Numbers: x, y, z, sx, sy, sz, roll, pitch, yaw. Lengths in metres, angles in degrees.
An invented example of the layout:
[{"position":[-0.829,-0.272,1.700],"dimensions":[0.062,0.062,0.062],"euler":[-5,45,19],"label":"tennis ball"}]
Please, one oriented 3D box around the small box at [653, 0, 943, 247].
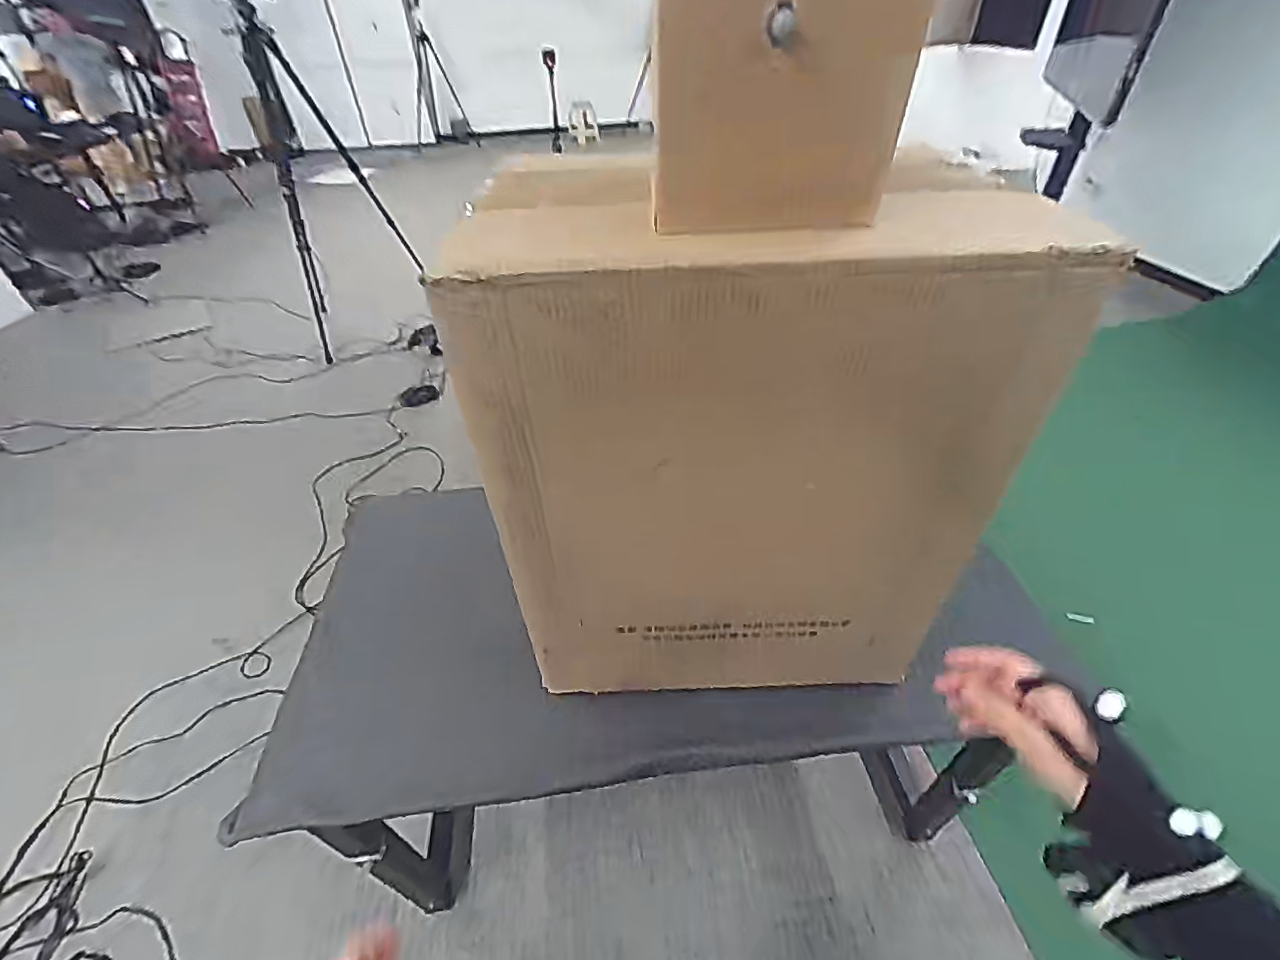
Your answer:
[{"position":[0.099,-0.300,0.430],"dimensions":[0.179,0.176,0.168],"euler":[-2,44,1],"label":"small box"}]
